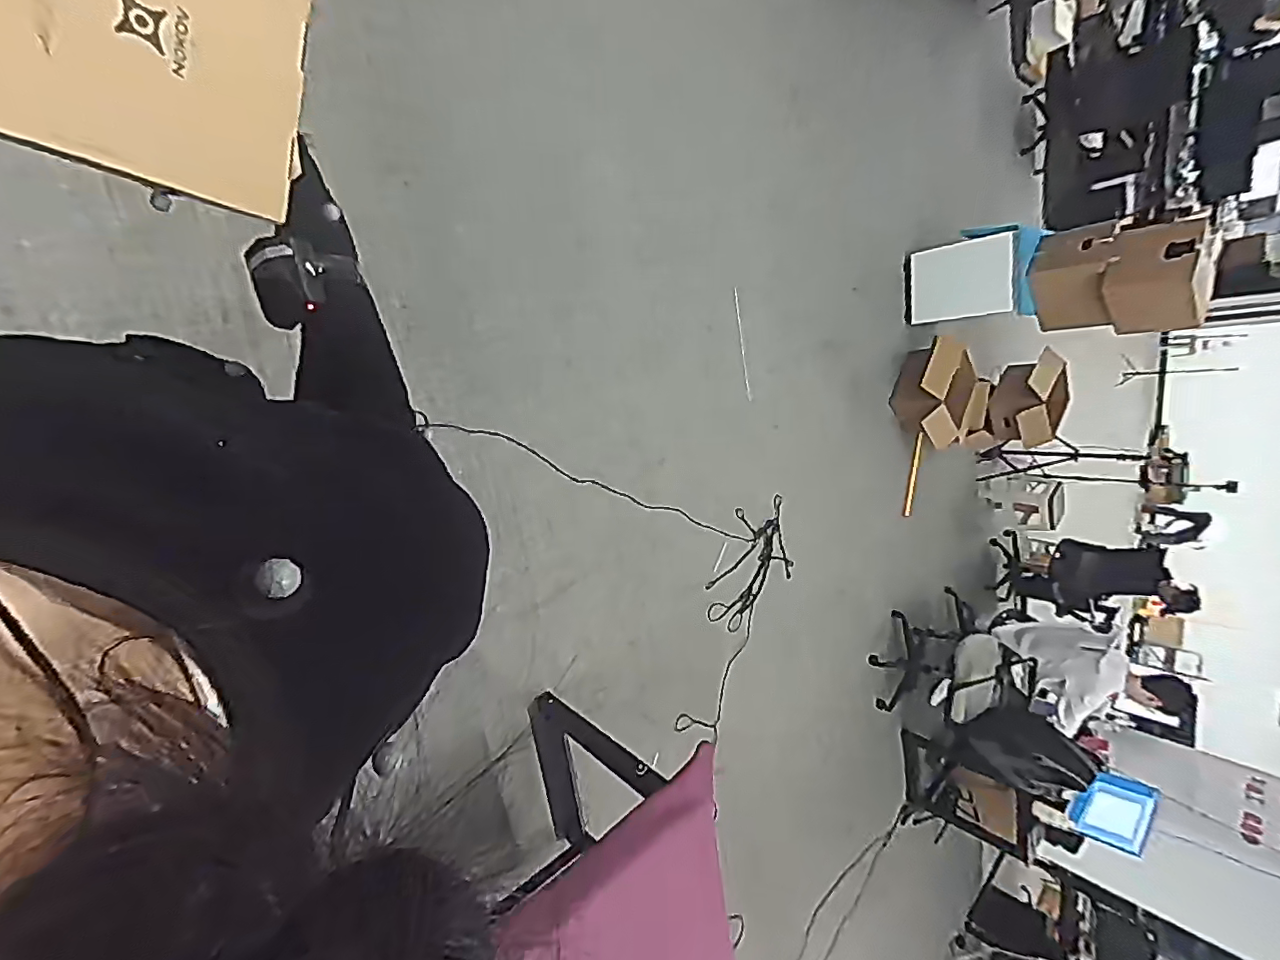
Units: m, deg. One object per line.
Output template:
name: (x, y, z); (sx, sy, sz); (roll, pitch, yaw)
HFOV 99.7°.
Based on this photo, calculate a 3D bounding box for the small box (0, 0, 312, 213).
small box: (-0.341, -0.288, 0.324); (0.179, 0.176, 0.168); (-11, 120, -64)
